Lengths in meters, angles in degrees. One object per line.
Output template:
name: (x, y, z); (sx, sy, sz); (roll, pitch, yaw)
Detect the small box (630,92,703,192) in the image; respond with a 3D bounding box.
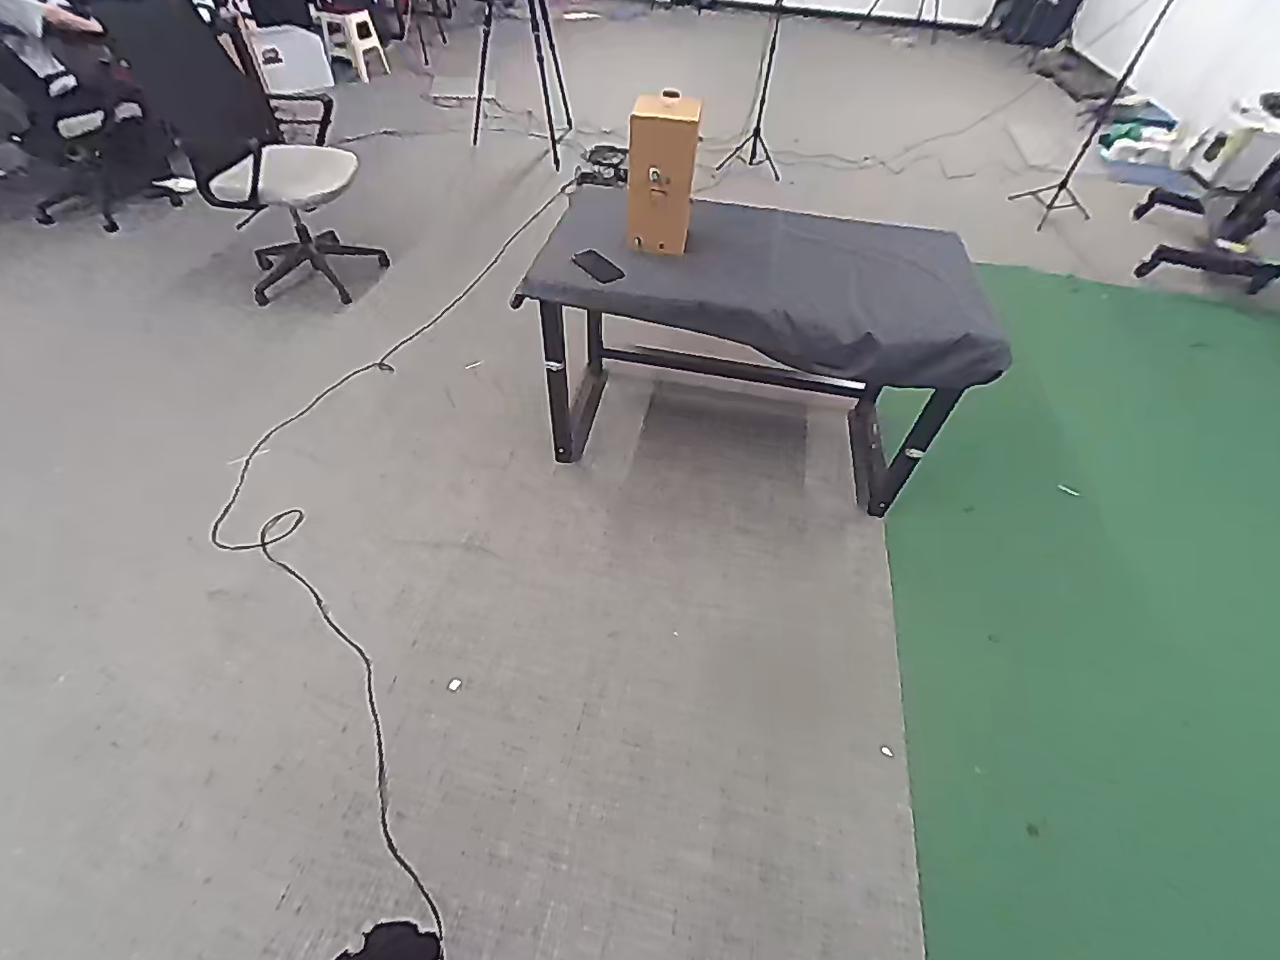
small box: (0.067, -0.869, 1.394); (0.168, 0.176, 0.179); (7, 51, 2)

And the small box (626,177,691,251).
small box: (0.054, -0.764, 1.517); (0.168, 0.176, 0.179); (8, 49, 2)
